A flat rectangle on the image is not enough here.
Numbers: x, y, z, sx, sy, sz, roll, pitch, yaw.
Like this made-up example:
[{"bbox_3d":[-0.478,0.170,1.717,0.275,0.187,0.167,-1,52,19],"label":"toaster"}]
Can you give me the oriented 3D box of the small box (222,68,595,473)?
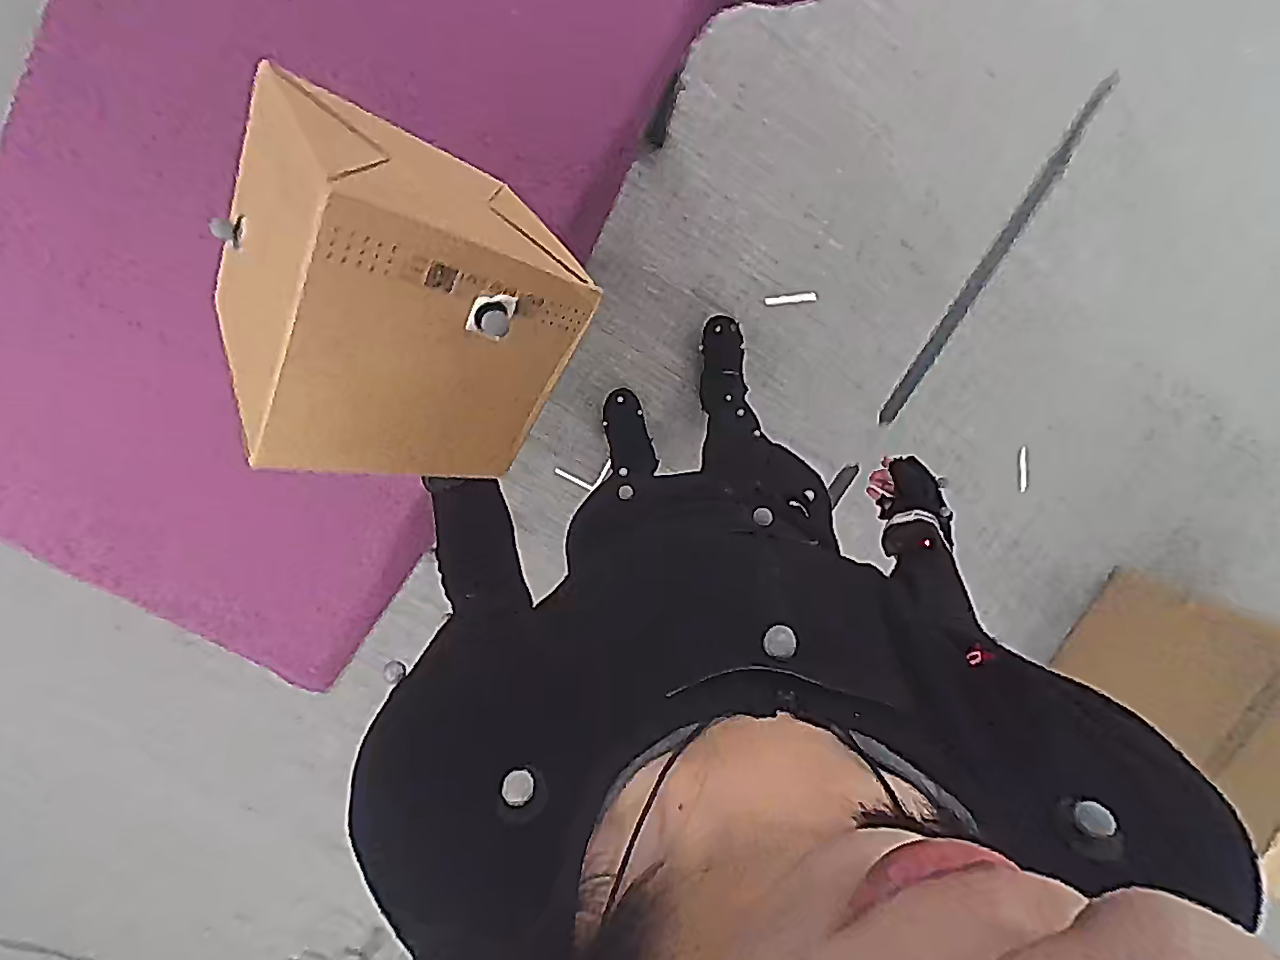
[{"bbox_3d":[-0.157,-0.127,0.360,0.168,0.179,0.176,3,131,-45],"label":"small box"}]
